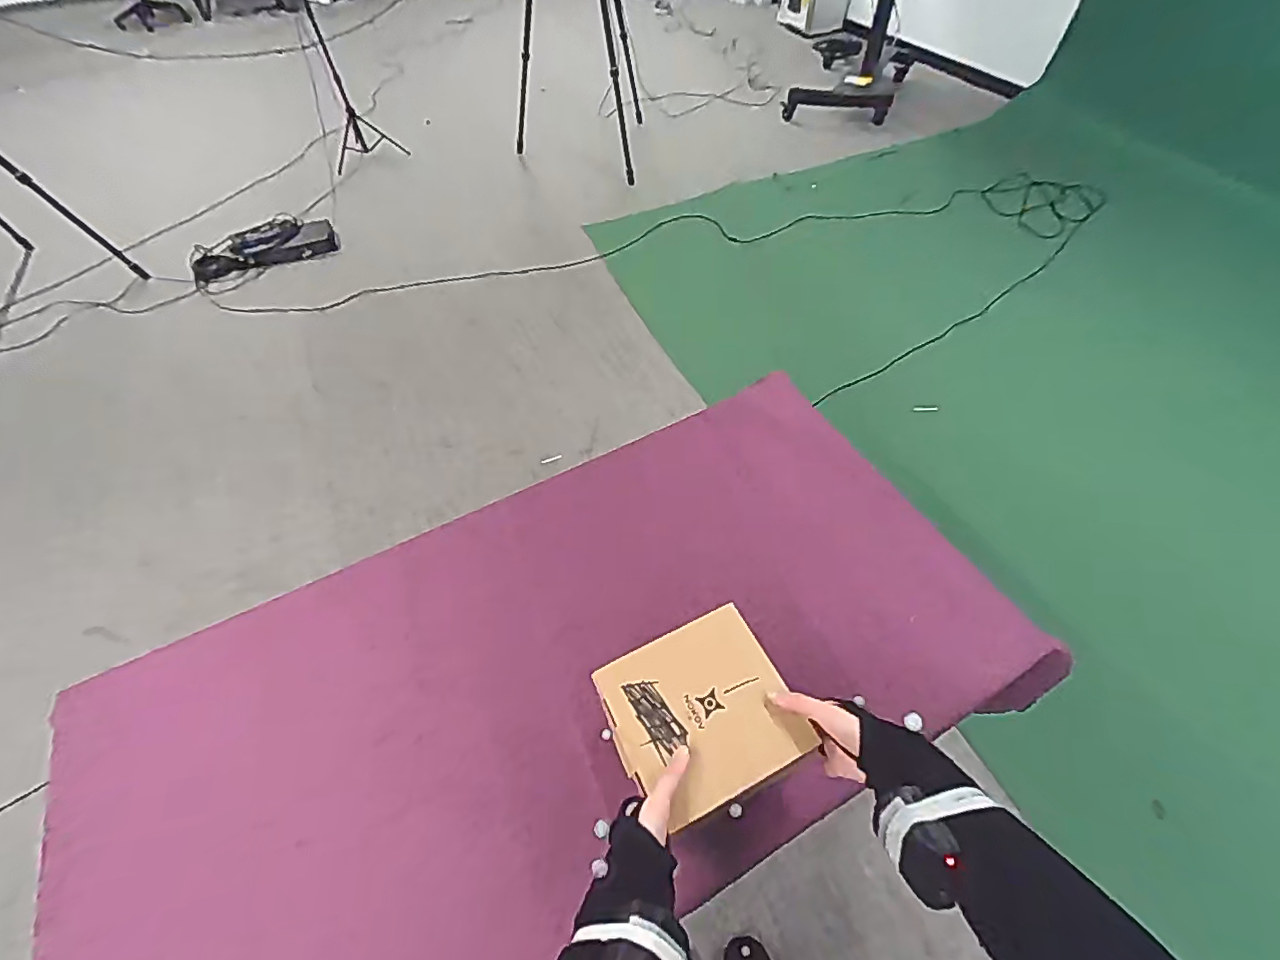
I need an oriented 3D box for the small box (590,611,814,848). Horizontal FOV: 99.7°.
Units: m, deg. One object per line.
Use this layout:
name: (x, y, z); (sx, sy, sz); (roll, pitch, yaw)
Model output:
small box: (0.062, 0.284, 0.608); (0.179, 0.176, 0.168); (-22, 55, -14)
